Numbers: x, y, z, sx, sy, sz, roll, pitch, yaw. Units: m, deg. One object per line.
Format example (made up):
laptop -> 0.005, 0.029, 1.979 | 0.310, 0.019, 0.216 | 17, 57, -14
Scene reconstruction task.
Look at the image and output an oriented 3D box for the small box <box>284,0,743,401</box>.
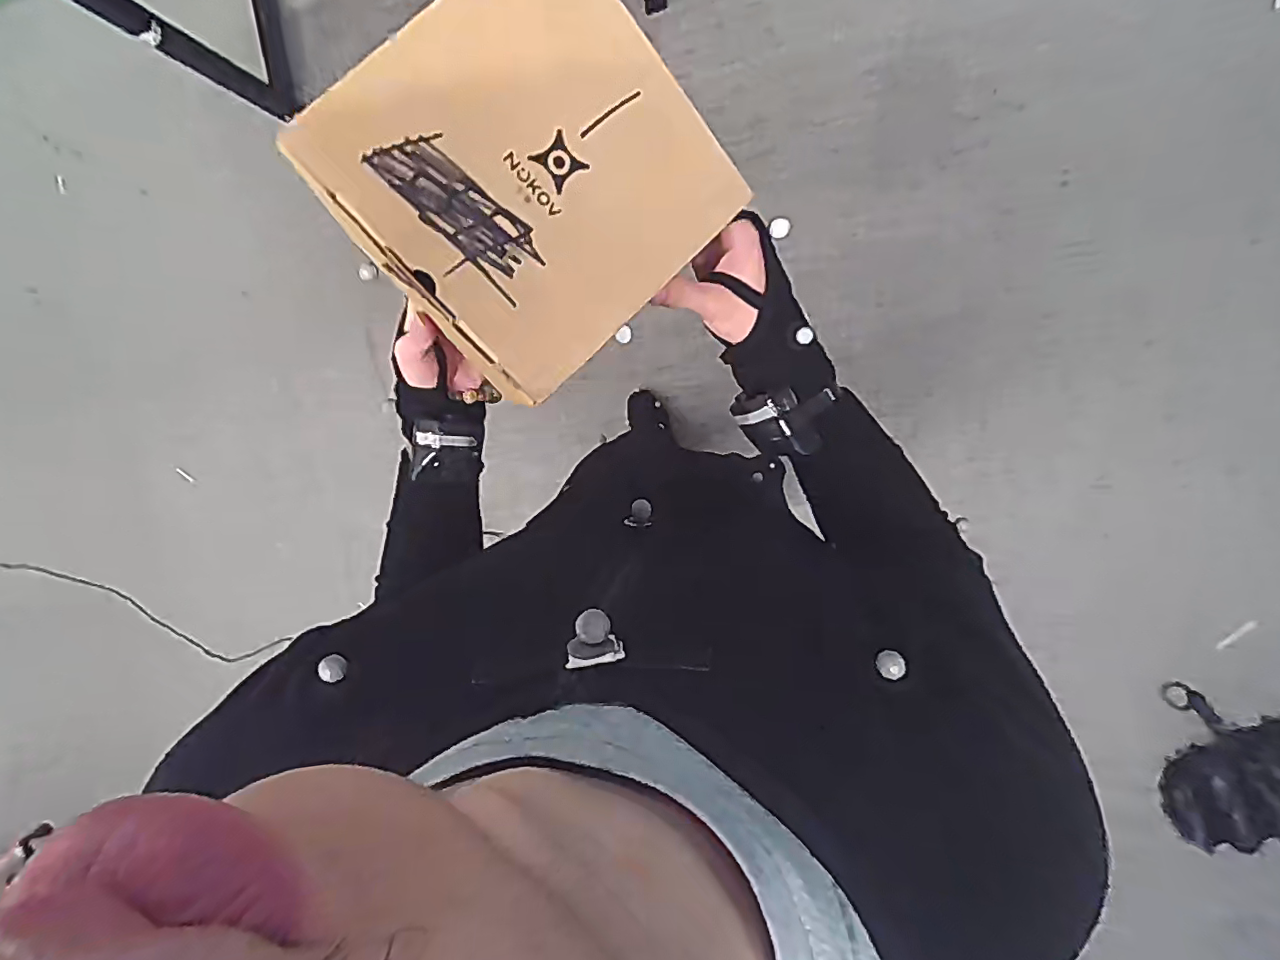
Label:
small box -> -0.073, -0.167, 0.353 | 0.179, 0.176, 0.168 | -45, 107, -6
